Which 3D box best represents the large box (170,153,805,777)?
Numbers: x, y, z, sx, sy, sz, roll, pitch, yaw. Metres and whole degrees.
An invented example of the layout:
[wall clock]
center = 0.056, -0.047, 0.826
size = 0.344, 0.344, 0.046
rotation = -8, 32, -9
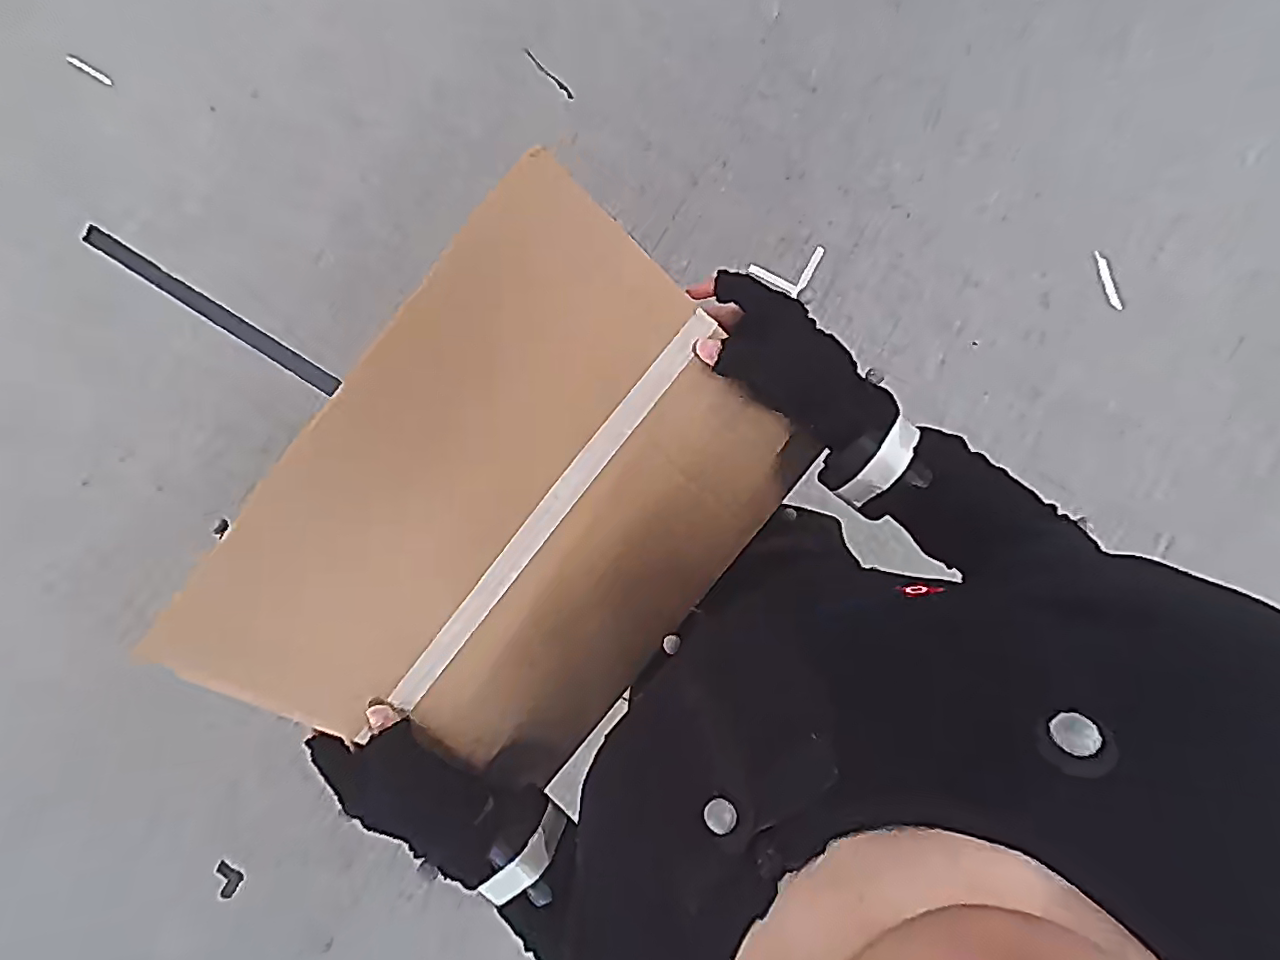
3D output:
[large box]
center = -0.131, -0.012, 0.546
size = 0.320, 0.320, 0.408
rotation = 38, 92, -26
